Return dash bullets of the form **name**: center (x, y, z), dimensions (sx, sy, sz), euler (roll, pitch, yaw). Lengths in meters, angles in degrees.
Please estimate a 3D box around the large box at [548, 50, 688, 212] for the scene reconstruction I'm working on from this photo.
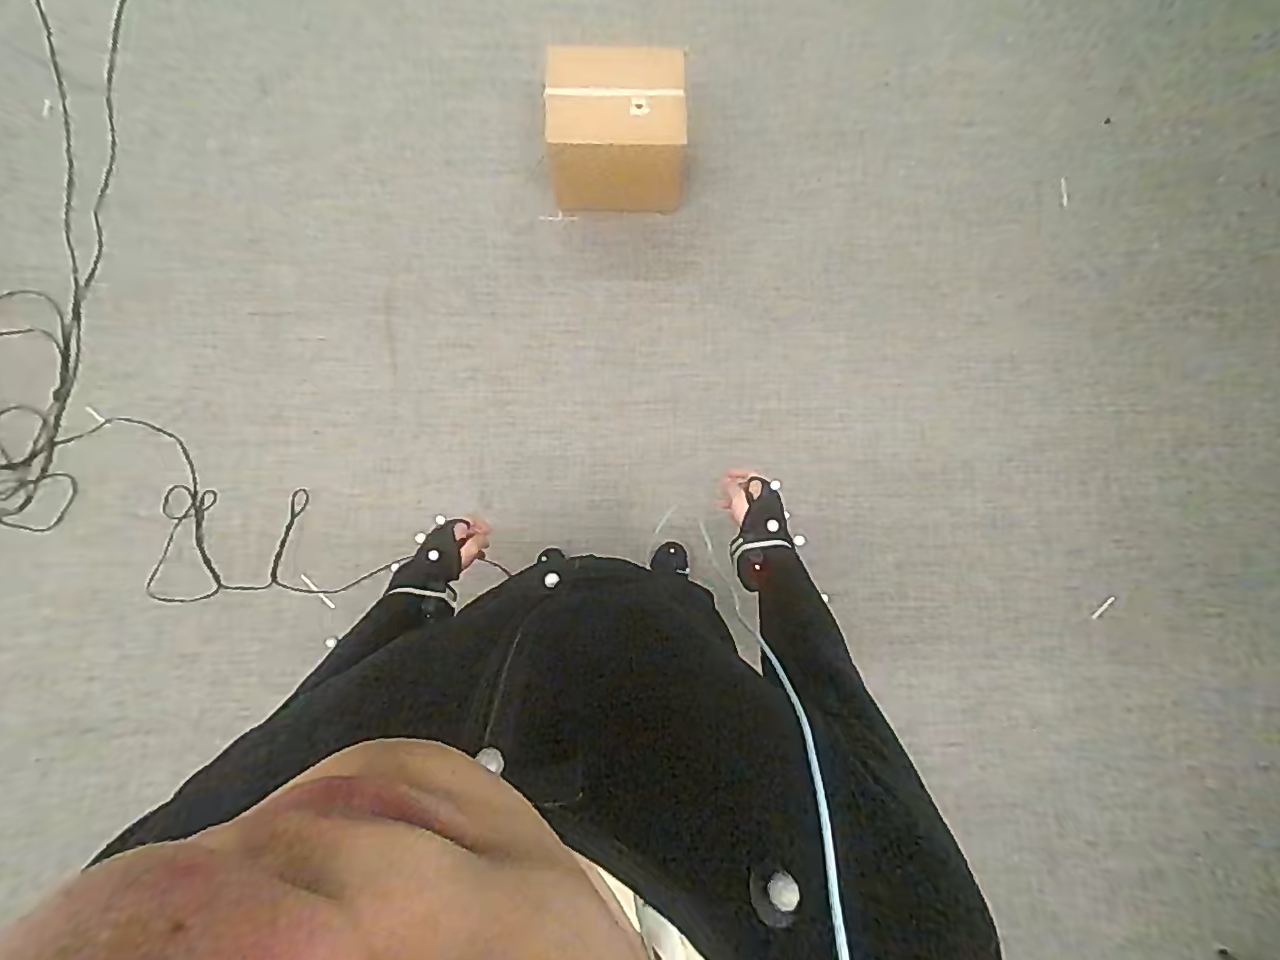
- **large box**: center (-0.072, -1.072, 1.694), dimensions (0.408, 0.320, 0.320), euler (0, 82, -2)
